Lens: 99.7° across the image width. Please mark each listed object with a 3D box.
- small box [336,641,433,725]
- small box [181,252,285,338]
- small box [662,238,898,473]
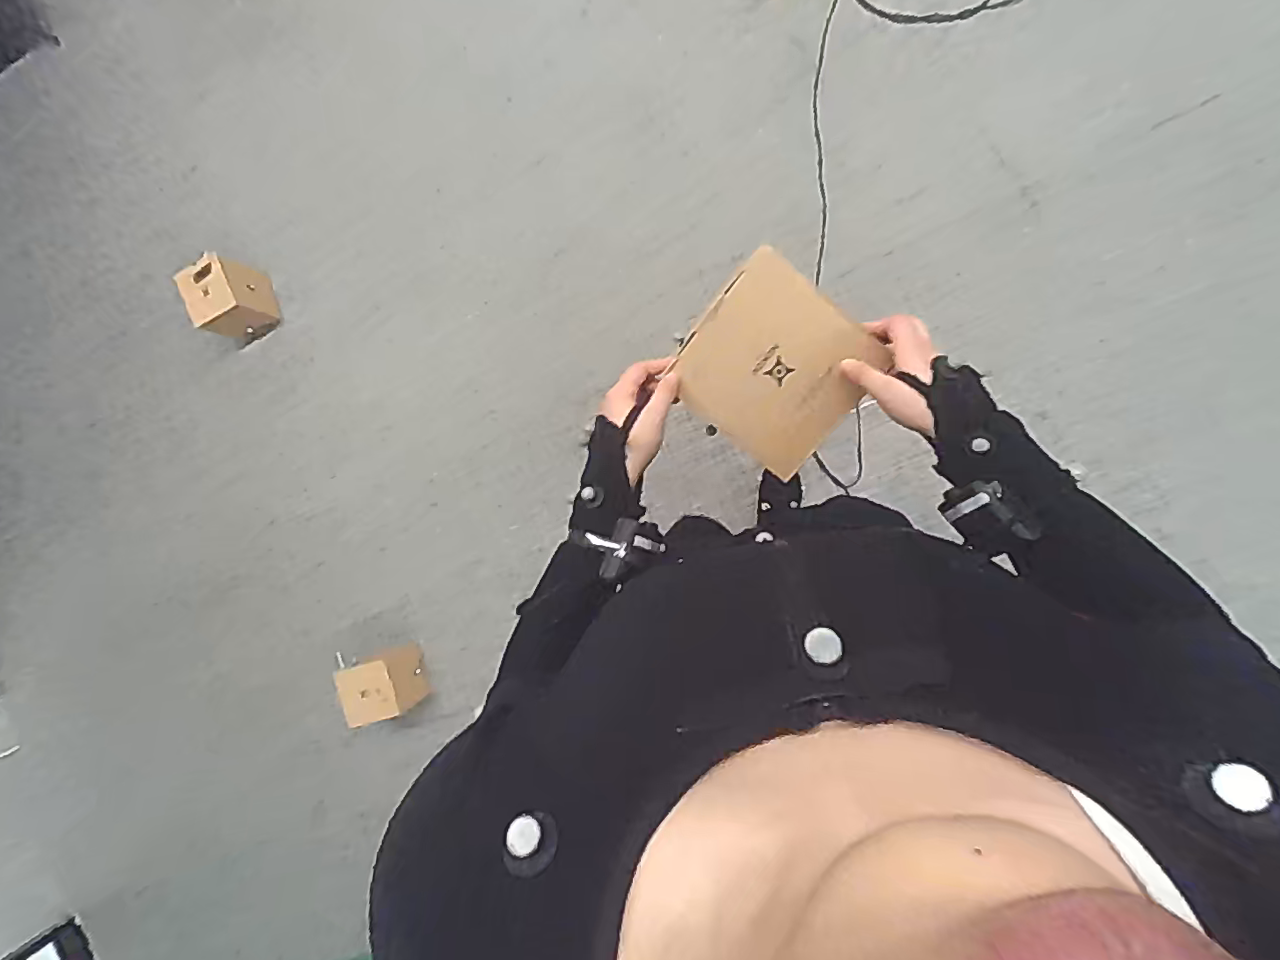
[{"bbox_3d":[-0.751,0.596,1.602,0.179,0.176,0.168,-18,88,11],"label":"small box"},{"bbox_3d":[-1.259,-0.566,1.682,0.168,0.176,0.179,-23,88,11],"label":"small box"},{"bbox_3d":[0.141,-0.139,0.613,0.179,0.176,0.168,36,106,-8],"label":"small box"}]
